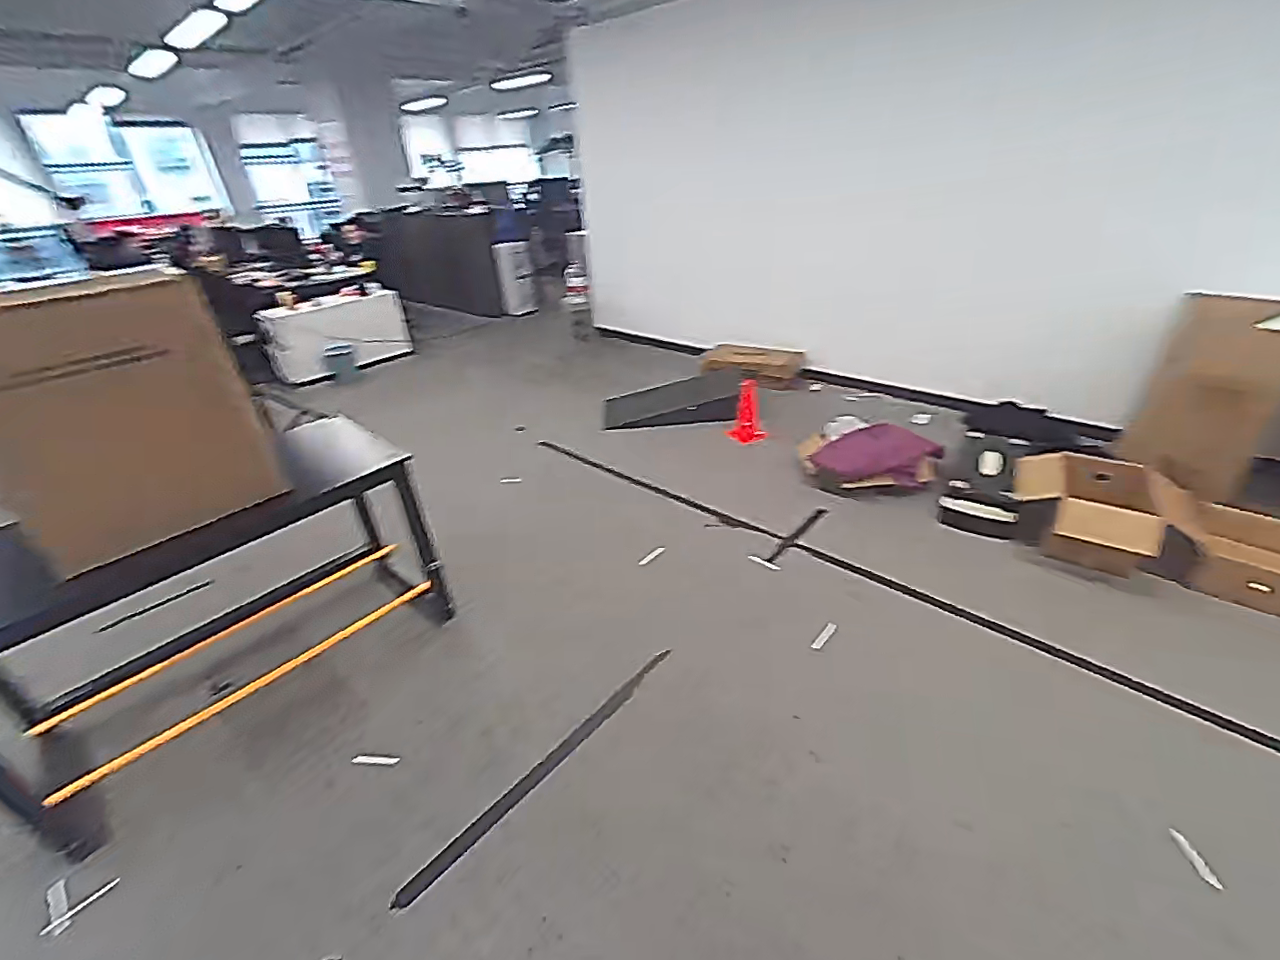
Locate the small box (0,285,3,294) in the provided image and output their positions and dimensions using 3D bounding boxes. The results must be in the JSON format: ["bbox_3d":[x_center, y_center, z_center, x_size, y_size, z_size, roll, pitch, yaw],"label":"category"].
[{"bbox_3d":[-1.556,-0.480,1.180,0.179,0.176,0.168,22,38,37],"label":"small box"}]
